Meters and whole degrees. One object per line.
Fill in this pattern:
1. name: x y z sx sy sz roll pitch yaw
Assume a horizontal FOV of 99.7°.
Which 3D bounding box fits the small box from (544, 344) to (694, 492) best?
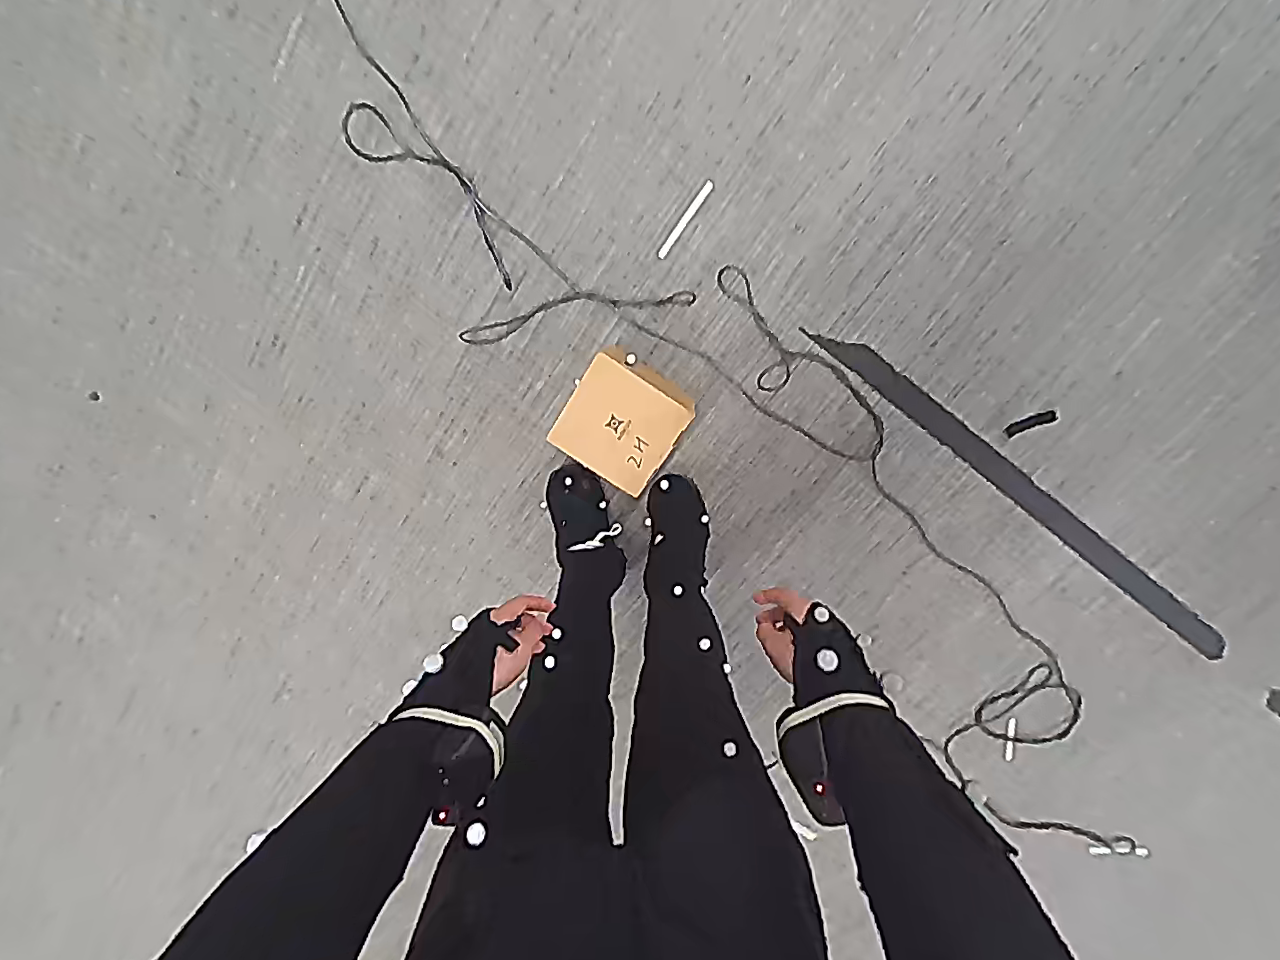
1. small box: -0.028 -0.111 0.899 0.179 0.176 0.168 33 107 -6
